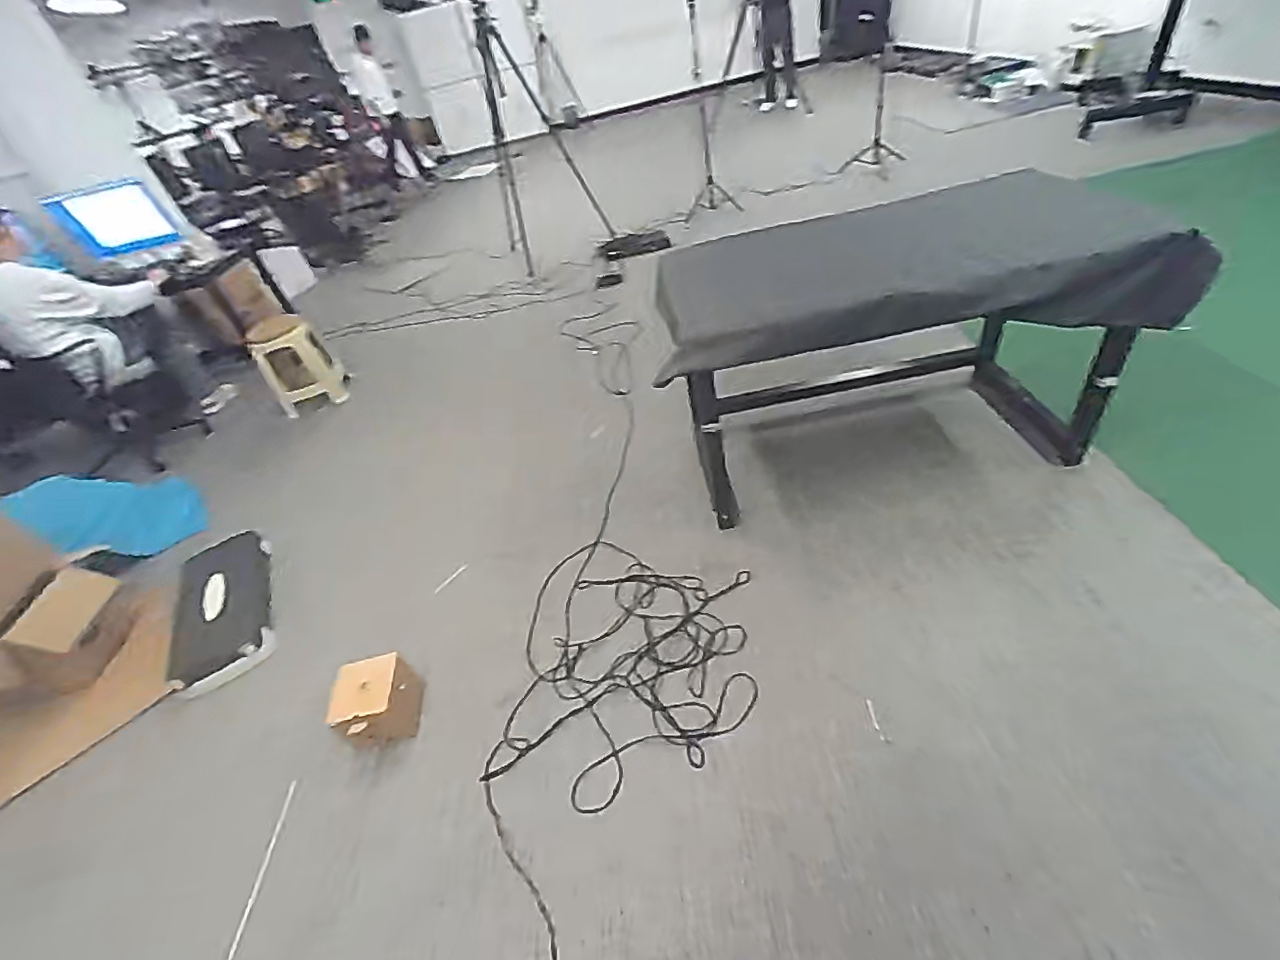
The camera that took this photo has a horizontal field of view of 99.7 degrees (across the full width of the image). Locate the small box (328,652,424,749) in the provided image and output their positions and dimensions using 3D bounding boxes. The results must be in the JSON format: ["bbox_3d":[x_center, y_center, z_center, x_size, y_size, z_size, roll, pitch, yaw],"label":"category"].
[{"bbox_3d":[-0.720,0.612,1.500,0.168,0.176,0.179,-14,41,0],"label":"small box"}]
